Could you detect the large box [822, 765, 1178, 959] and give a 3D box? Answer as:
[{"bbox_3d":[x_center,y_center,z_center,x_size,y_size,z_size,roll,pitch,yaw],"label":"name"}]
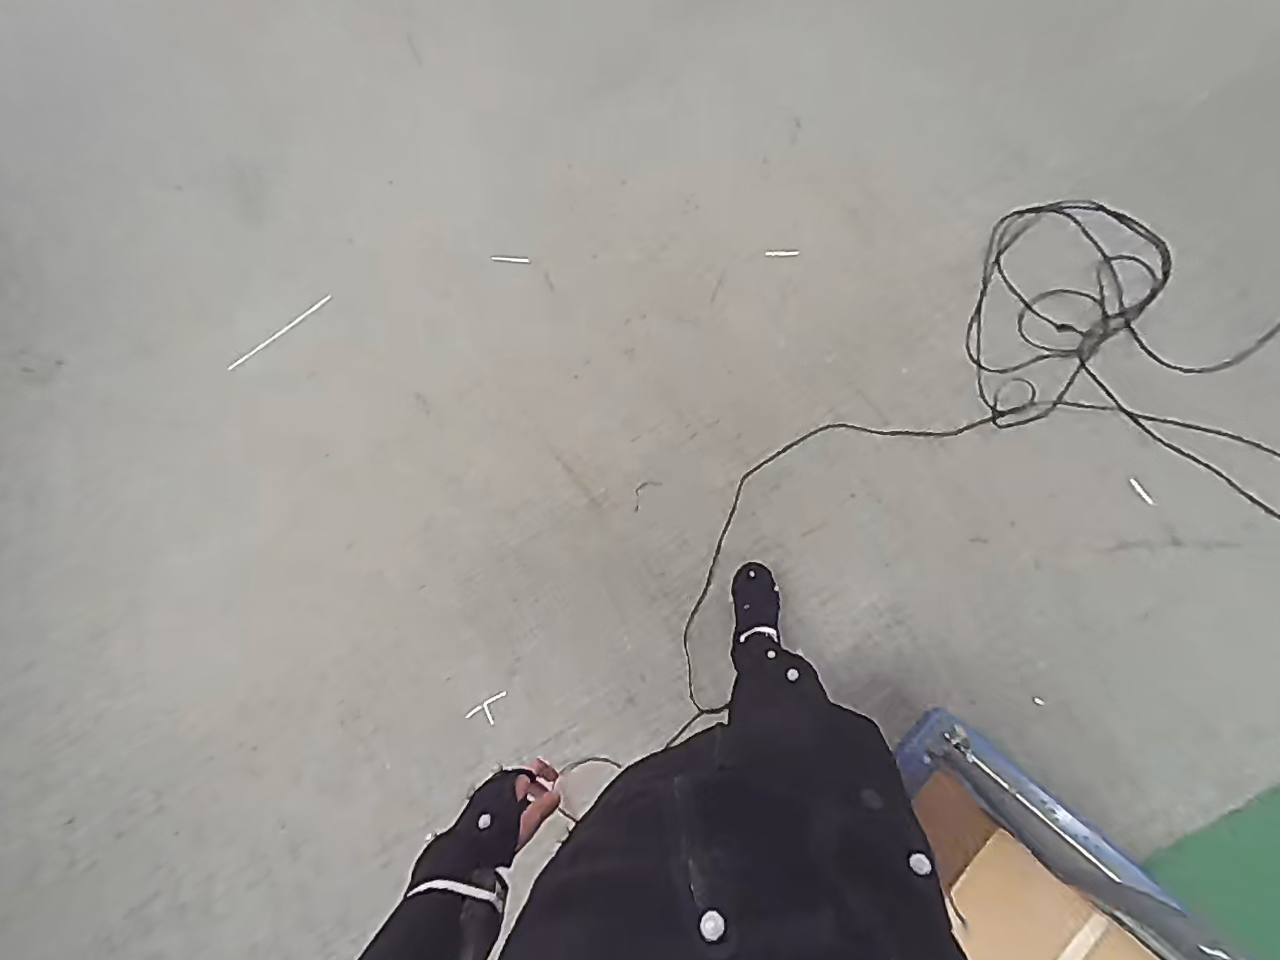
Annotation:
[{"bbox_3d":[0.567,0.787,0.910,0.320,0.320,0.408,38,88,18],"label":"large box"}]
